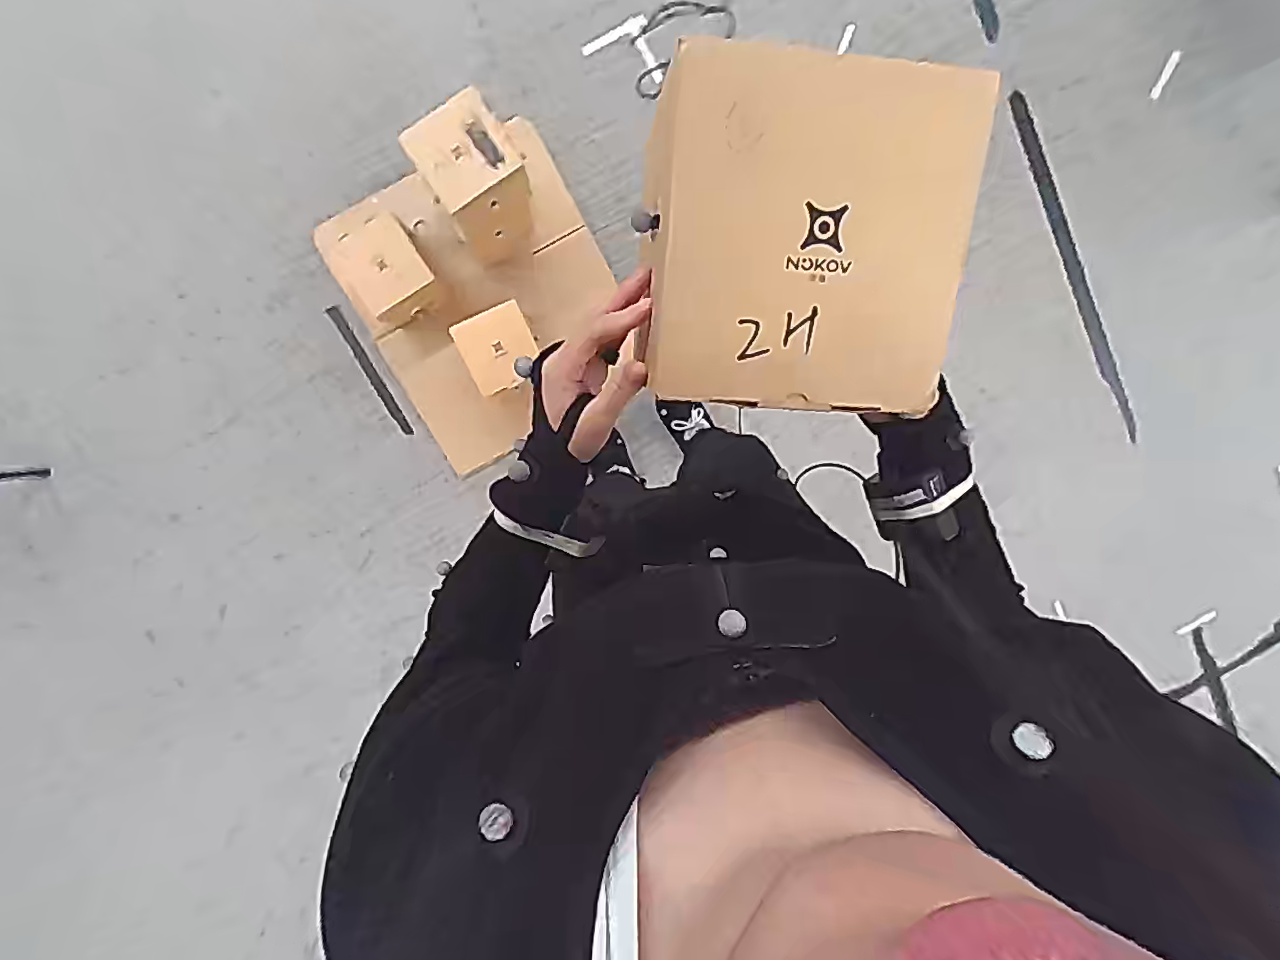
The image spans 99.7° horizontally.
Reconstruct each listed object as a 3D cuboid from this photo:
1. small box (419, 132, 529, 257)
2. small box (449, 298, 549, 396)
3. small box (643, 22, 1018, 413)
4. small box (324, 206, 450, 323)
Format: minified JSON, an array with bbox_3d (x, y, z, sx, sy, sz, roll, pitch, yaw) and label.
[{"bbox_3d":[-0.372,-0.650,1.252,0.179,0.176,0.168,-33,100,0],"label":"small box"},{"bbox_3d":[-0.330,-0.311,1.302,0.168,0.176,0.179,-26,101,-2],"label":"small box"},{"bbox_3d":[0.094,-0.147,0.358,0.168,0.176,0.179,3,106,-6],"label":"small box"},{"bbox_3d":[-0.575,-0.488,1.254,0.168,0.176,0.179,-34,100,2],"label":"small box"}]
